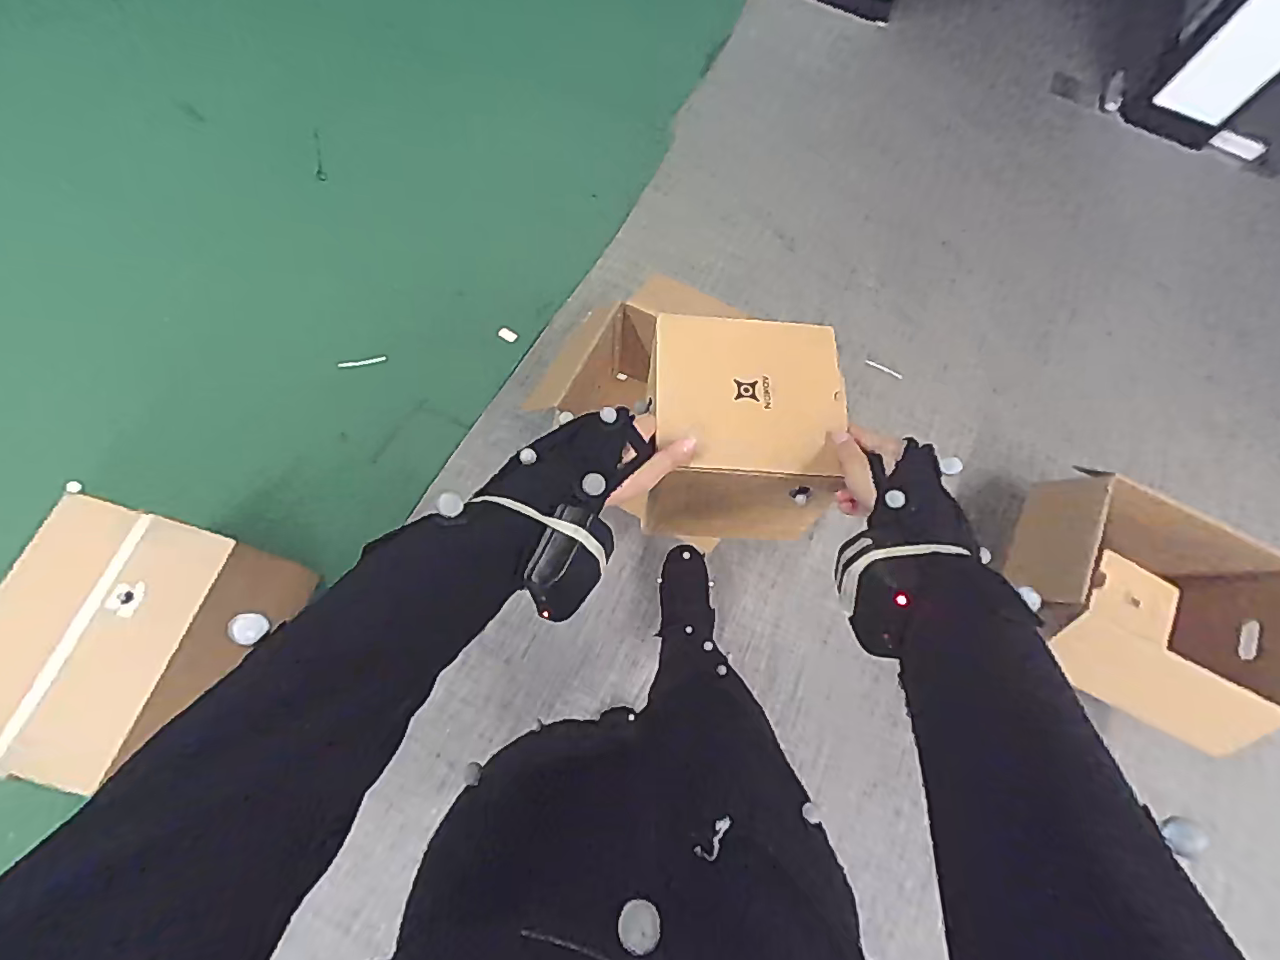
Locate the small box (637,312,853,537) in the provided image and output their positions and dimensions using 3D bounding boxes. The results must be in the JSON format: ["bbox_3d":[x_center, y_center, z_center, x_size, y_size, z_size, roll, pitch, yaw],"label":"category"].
[{"bbox_3d":[0.089,-0.047,0.555,0.179,0.176,0.168,4,64,-4],"label":"small box"}]
